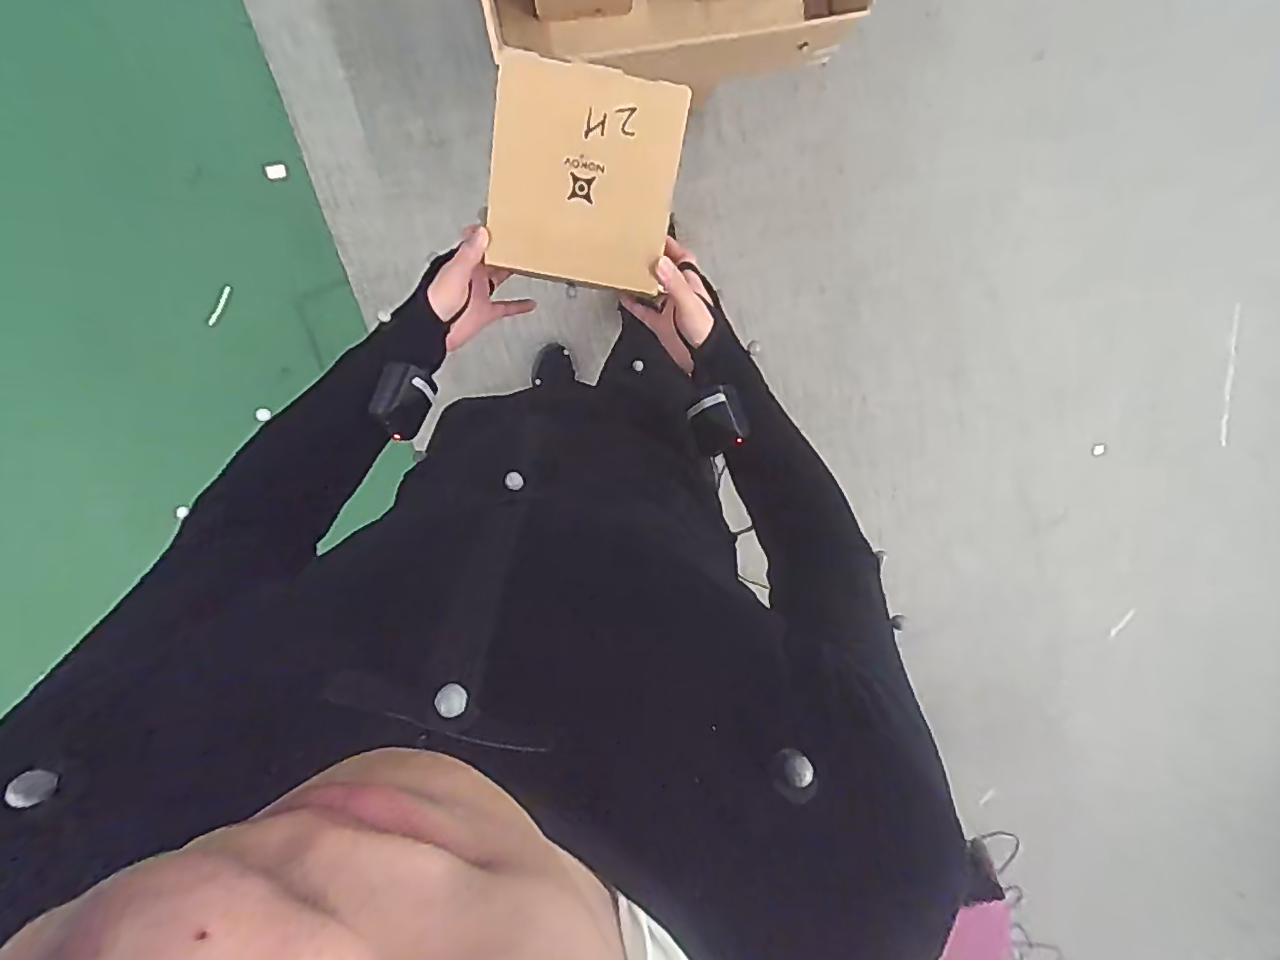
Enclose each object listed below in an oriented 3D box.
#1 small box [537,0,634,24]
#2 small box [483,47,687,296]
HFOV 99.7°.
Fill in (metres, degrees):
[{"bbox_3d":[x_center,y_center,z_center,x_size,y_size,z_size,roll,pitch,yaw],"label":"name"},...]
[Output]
[{"bbox_3d":[-0.096,-0.857,0.836,0.168,0.176,0.179,-7,108,-1],"label":"small box"},{"bbox_3d":[-0.055,-0.296,0.564,0.168,0.176,0.179,9,106,-5],"label":"small box"}]
